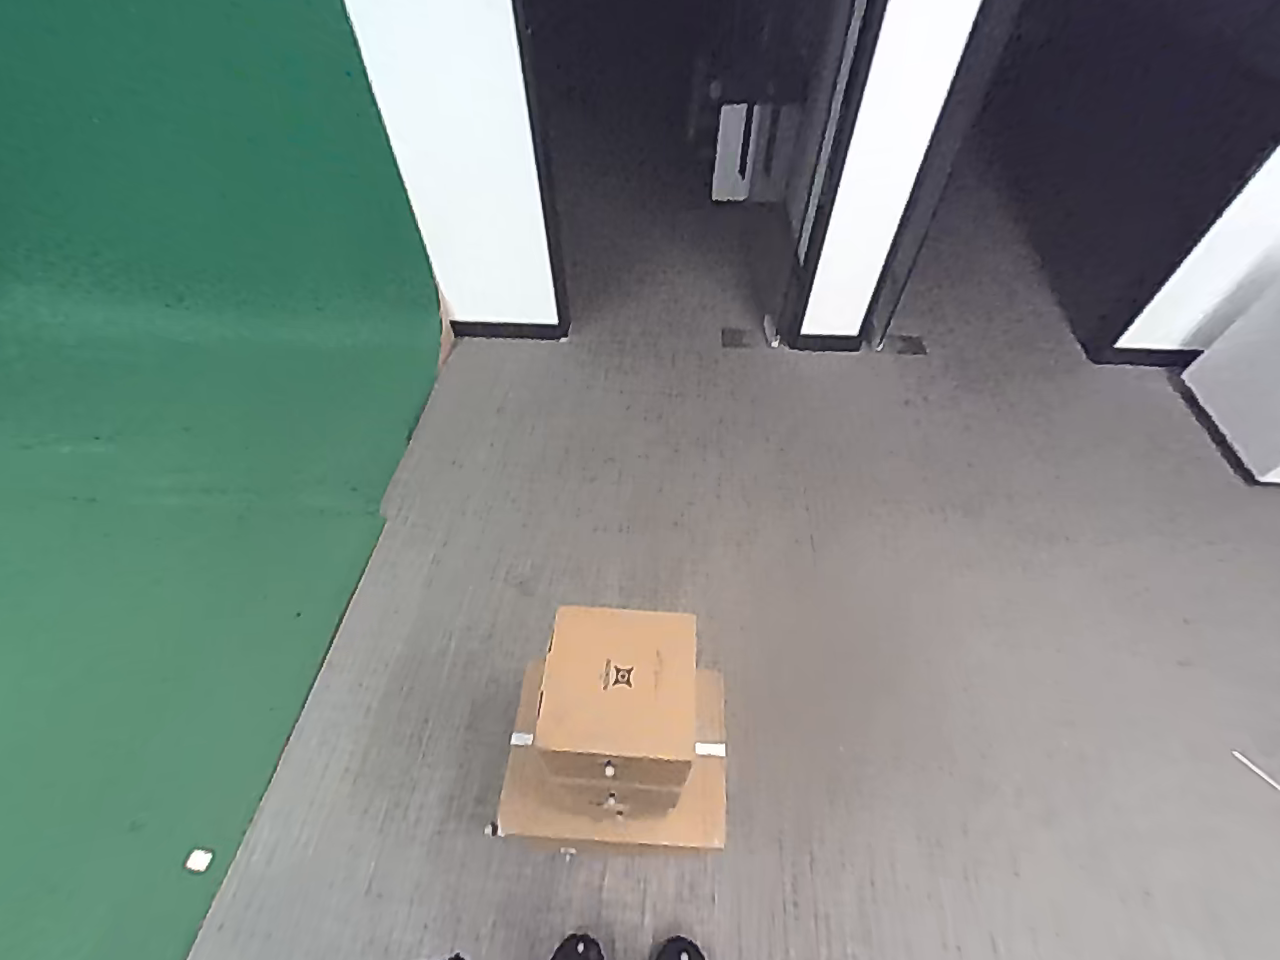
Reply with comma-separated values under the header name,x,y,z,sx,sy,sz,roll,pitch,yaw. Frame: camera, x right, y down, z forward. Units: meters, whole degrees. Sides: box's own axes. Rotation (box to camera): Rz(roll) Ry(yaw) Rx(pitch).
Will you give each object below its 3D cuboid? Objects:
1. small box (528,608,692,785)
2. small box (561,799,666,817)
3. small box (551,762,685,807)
name,x,y,z,sx,sy,sz,roll,pitch,yaw
small box,-0.028,0.277,0.684,0.179,0.176,0.168,3,53,2
small box,-0.036,0.478,0.941,0.168,0.176,0.179,1,53,1
small box,-0.029,0.382,0.807,0.179,0.176,0.168,1,52,0
